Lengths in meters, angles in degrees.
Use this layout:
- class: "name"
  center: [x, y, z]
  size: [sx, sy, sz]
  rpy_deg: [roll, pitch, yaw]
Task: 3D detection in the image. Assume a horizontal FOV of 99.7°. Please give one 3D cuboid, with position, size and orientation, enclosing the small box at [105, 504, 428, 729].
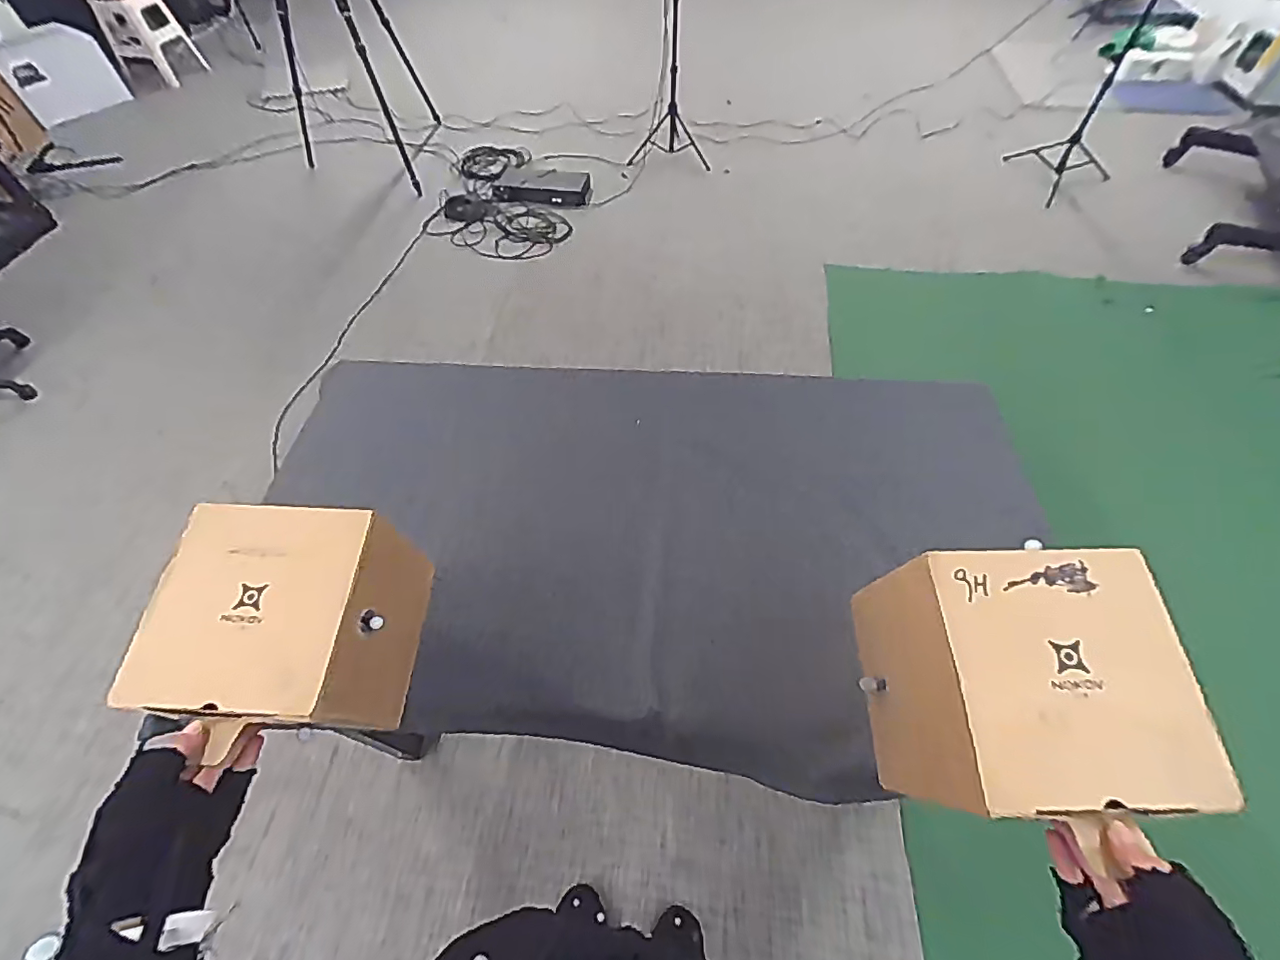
- class: "small box"
  center: [-0.323, 0.138, 0.518]
  size: [0.168, 0.176, 0.179]
  rpy_deg: [3, 62, 1]

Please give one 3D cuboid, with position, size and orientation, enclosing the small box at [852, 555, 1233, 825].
- class: "small box"
  center: [0.296, 0.168, 0.449]
  size: [0.168, 0.176, 0.179]
  rpy_deg: [0, 67, -1]
